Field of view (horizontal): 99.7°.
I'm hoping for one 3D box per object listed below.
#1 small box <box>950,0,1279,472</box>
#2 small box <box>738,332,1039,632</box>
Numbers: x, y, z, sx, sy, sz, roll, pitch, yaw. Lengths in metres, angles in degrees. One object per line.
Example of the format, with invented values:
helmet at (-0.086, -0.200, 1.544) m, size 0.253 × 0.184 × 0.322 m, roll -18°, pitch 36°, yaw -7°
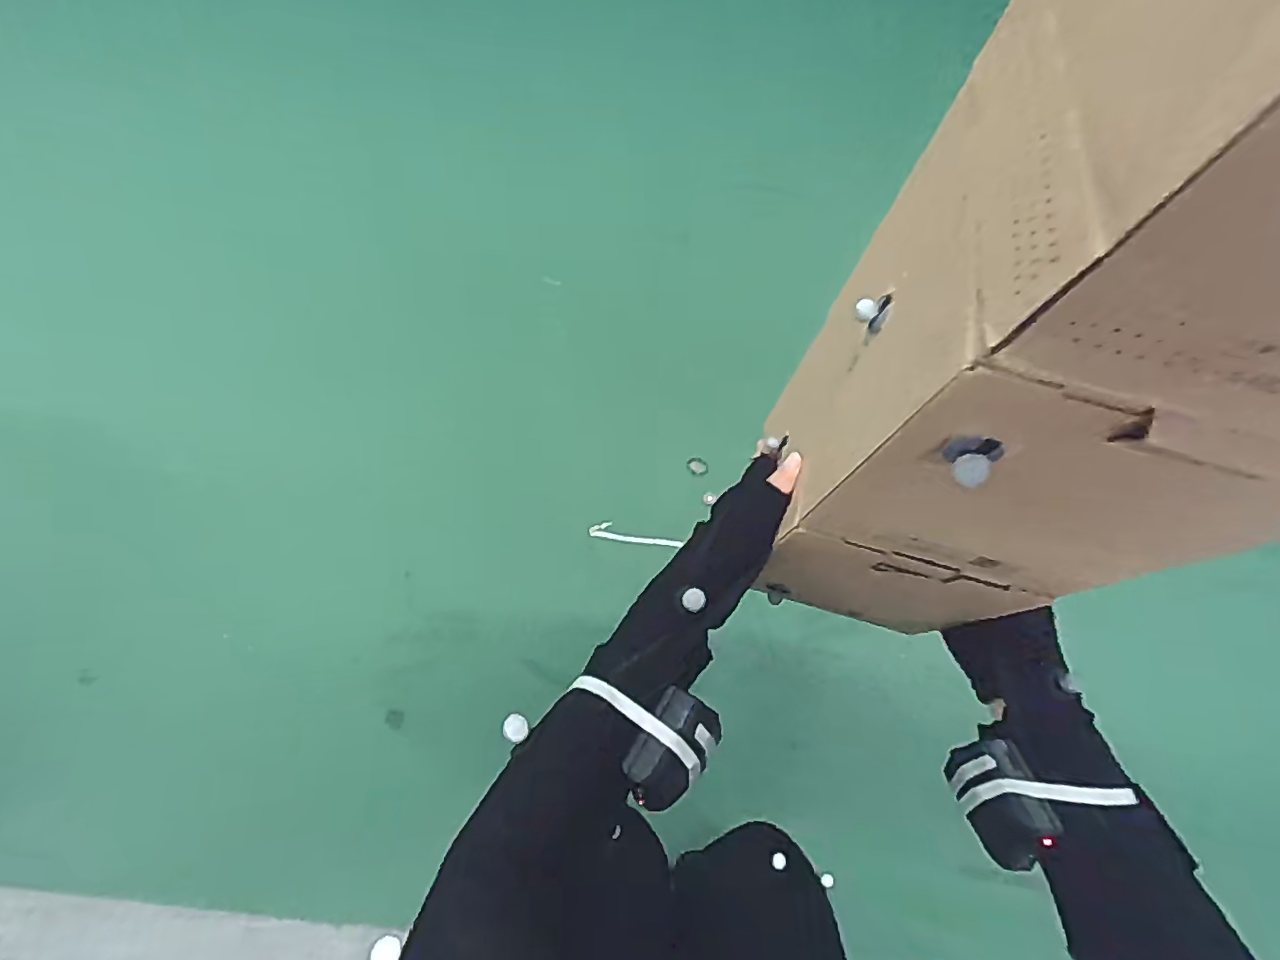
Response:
small box at (0.214, -0.121, 0.152) m, size 0.168 × 0.176 × 0.179 m, roll 14°, pitch 66°, yaw 1°
small box at (0.188, 0.015, 0.448) m, size 0.168 × 0.176 × 0.179 m, roll 16°, pitch 66°, yaw 2°
